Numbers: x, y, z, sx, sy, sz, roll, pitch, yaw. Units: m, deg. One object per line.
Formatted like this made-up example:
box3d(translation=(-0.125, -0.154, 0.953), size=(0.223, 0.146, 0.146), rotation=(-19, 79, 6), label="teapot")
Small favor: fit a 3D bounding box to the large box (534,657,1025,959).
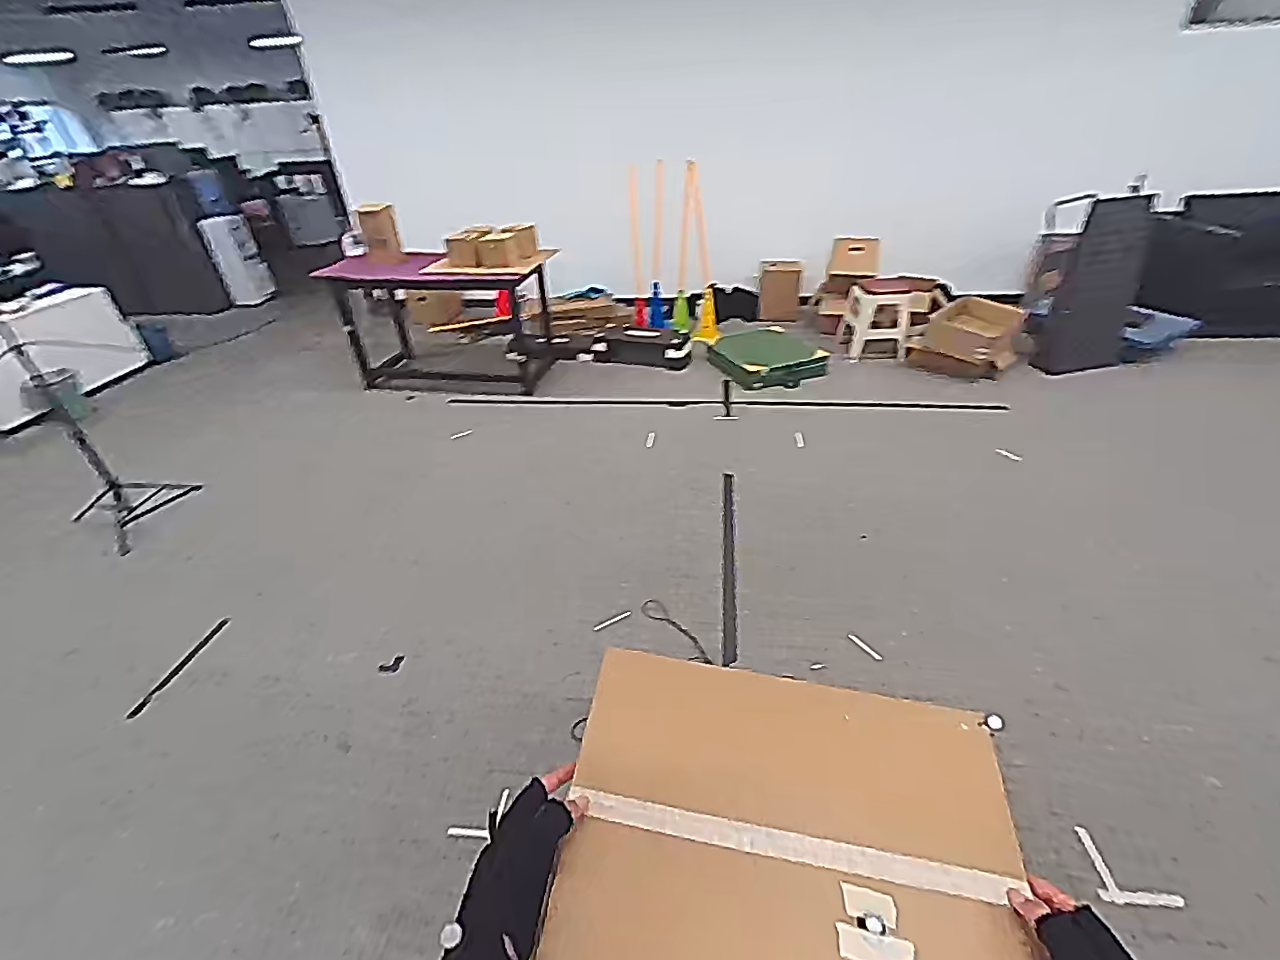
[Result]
box3d(translation=(0.125, 0.437, 0.604), size=(0.408, 0.320, 0.320), rotation=(8, 47, 7), label="large box")
